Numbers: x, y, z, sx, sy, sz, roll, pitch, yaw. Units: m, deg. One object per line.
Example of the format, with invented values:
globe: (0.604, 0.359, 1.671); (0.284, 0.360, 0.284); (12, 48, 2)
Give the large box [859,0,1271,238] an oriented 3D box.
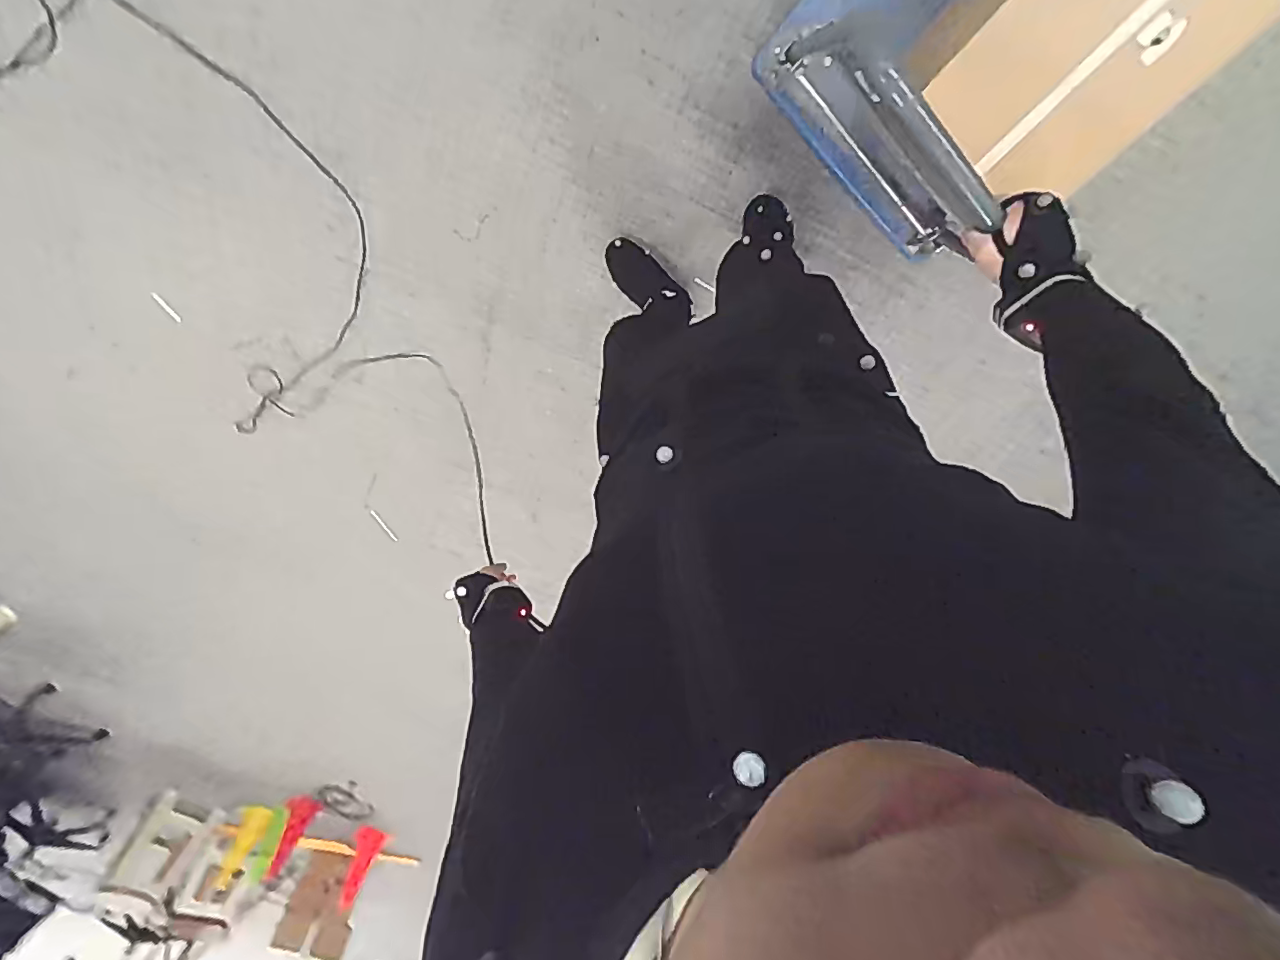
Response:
large box: (0.676, -0.707, 0.943); (0.320, 0.320, 0.408); (36, 116, -19)
